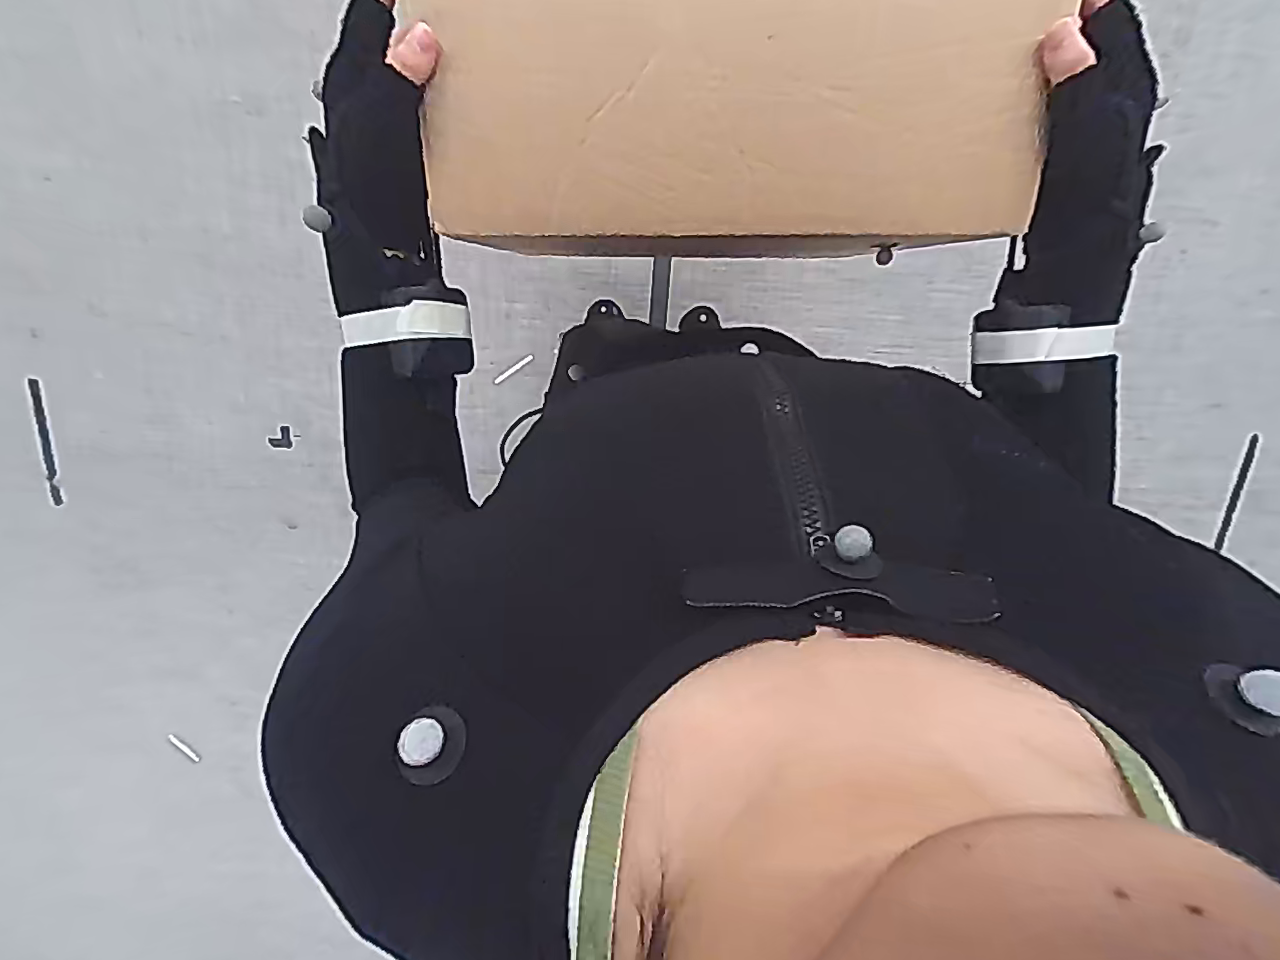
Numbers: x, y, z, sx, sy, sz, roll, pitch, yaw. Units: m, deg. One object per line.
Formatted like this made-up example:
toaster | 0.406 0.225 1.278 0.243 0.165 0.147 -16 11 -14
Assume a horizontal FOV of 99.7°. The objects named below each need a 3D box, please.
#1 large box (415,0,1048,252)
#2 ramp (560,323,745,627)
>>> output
large box | 0.058 -0.371 0.468 0.408 0.320 0.320 0 110 -1
ramp | 0.010 0.047 1.624 0.509 0.206 0.991 1 107 -1
